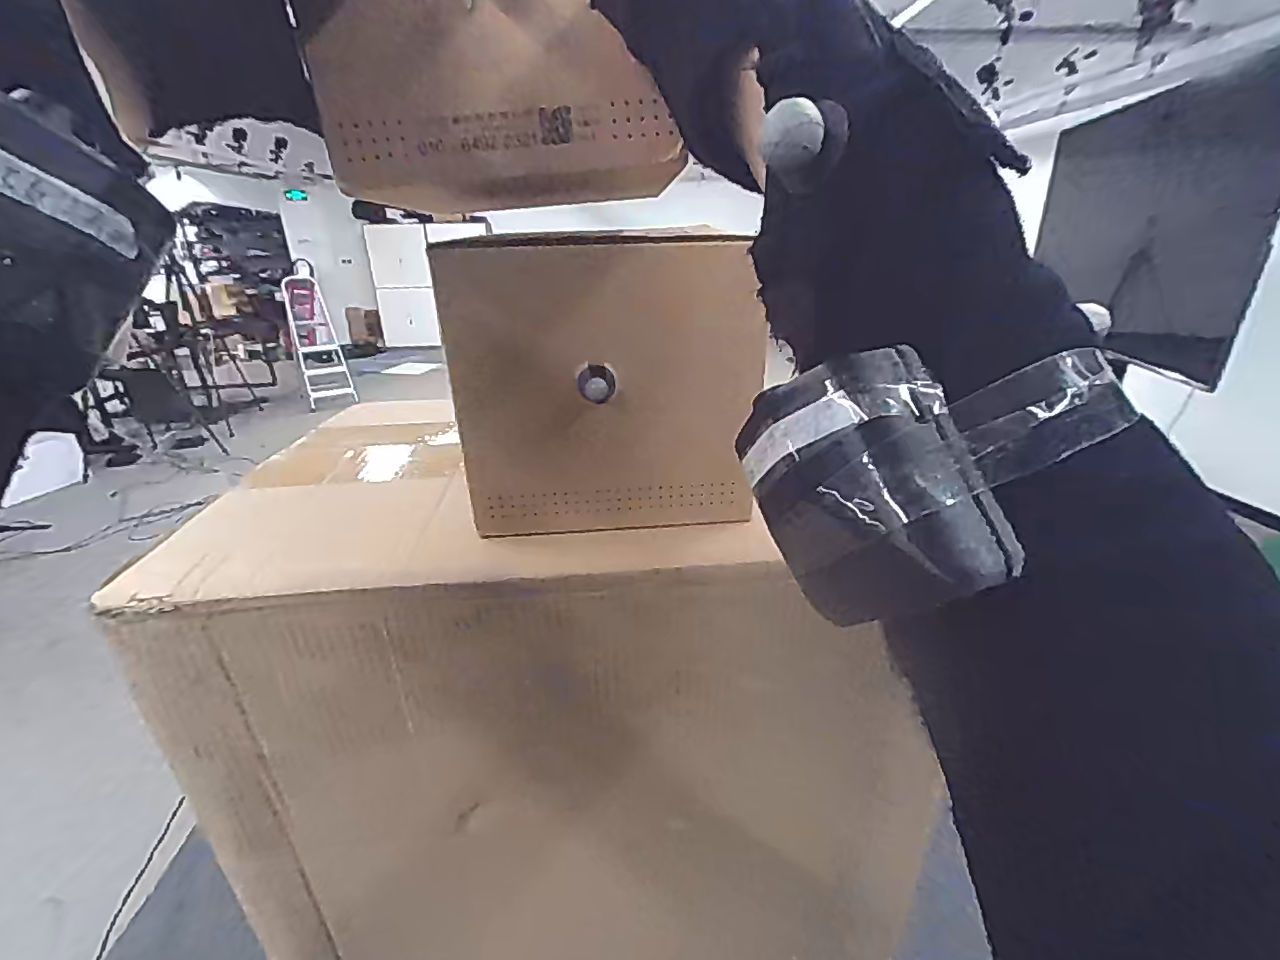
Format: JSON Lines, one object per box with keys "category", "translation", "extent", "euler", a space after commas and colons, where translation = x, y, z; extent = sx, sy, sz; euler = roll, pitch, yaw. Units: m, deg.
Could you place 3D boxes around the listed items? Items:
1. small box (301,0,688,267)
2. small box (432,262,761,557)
{"category": "small box", "translation": [-0.069, -0.223, 0.315], "extent": [0.168, 0.176, 0.179], "euler": [-7, 22, -3]}
{"category": "small box", "translation": [-0.026, -0.058, 0.389], "extent": [0.179, 0.176, 0.168], "euler": [-3, 25, -3]}
